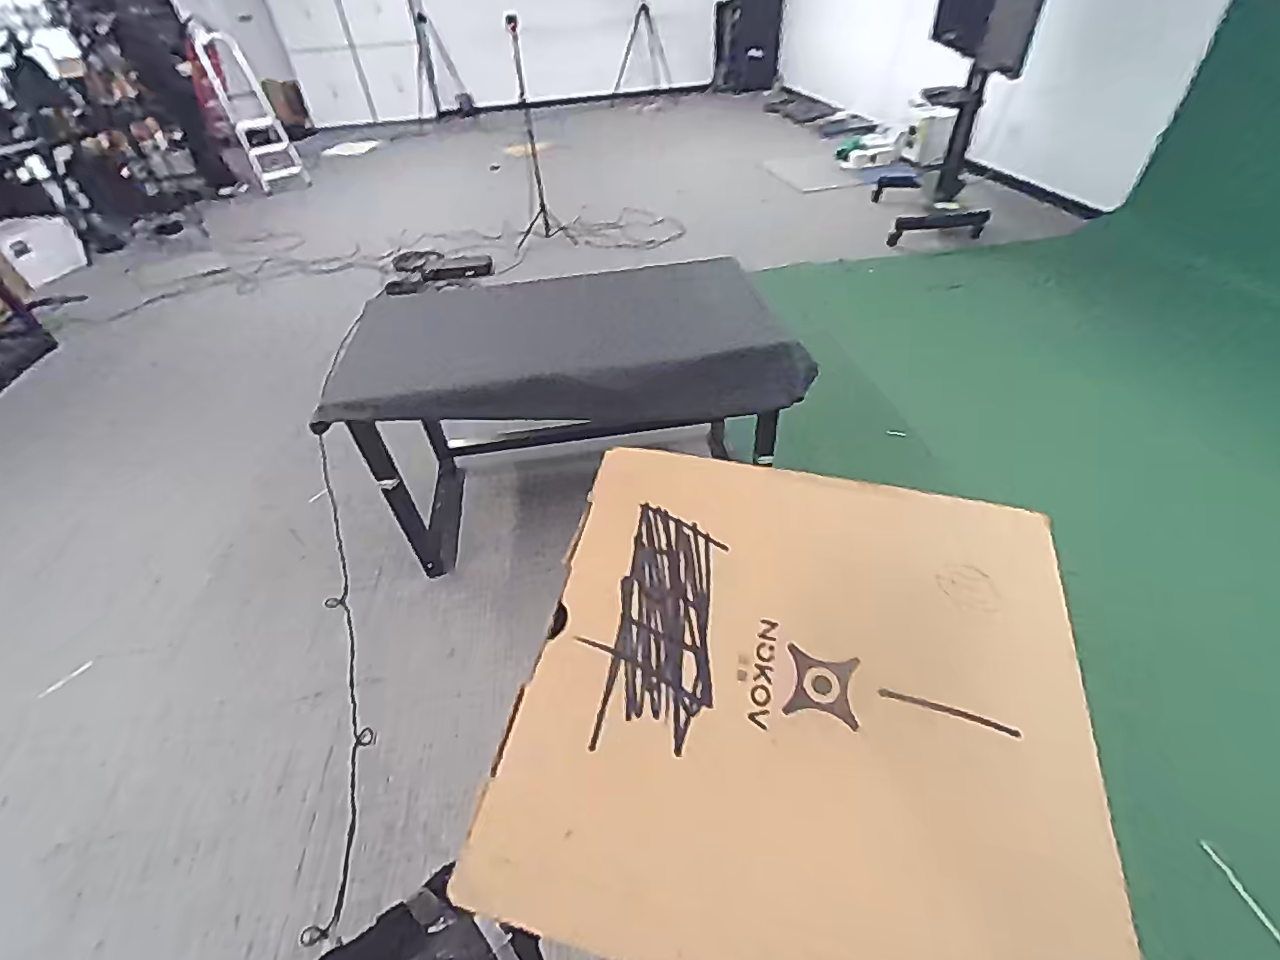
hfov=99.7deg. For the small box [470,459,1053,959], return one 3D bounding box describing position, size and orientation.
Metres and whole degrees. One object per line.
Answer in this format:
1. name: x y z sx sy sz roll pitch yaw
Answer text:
1. small box: 0.051 0.114 0.267 0.179 0.176 0.168 10 56 10
